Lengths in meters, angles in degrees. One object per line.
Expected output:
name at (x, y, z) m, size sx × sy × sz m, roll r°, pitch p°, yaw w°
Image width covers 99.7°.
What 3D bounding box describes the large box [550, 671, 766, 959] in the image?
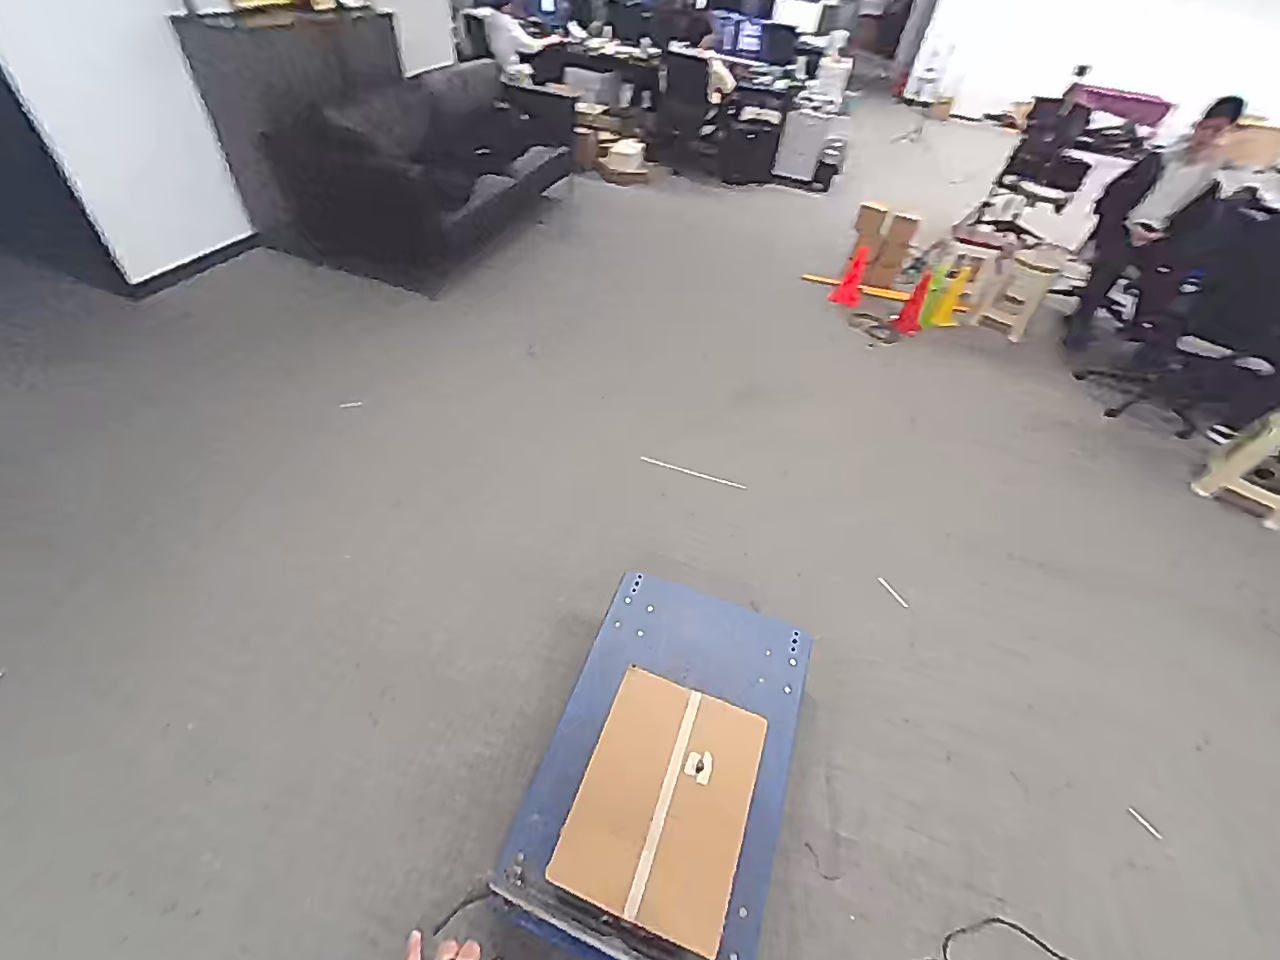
large box at (0.045, 0.692, 1.136) m, size 0.320 × 0.320 × 0.408 m, roll 18°, pitch 53°, yaw 10°
